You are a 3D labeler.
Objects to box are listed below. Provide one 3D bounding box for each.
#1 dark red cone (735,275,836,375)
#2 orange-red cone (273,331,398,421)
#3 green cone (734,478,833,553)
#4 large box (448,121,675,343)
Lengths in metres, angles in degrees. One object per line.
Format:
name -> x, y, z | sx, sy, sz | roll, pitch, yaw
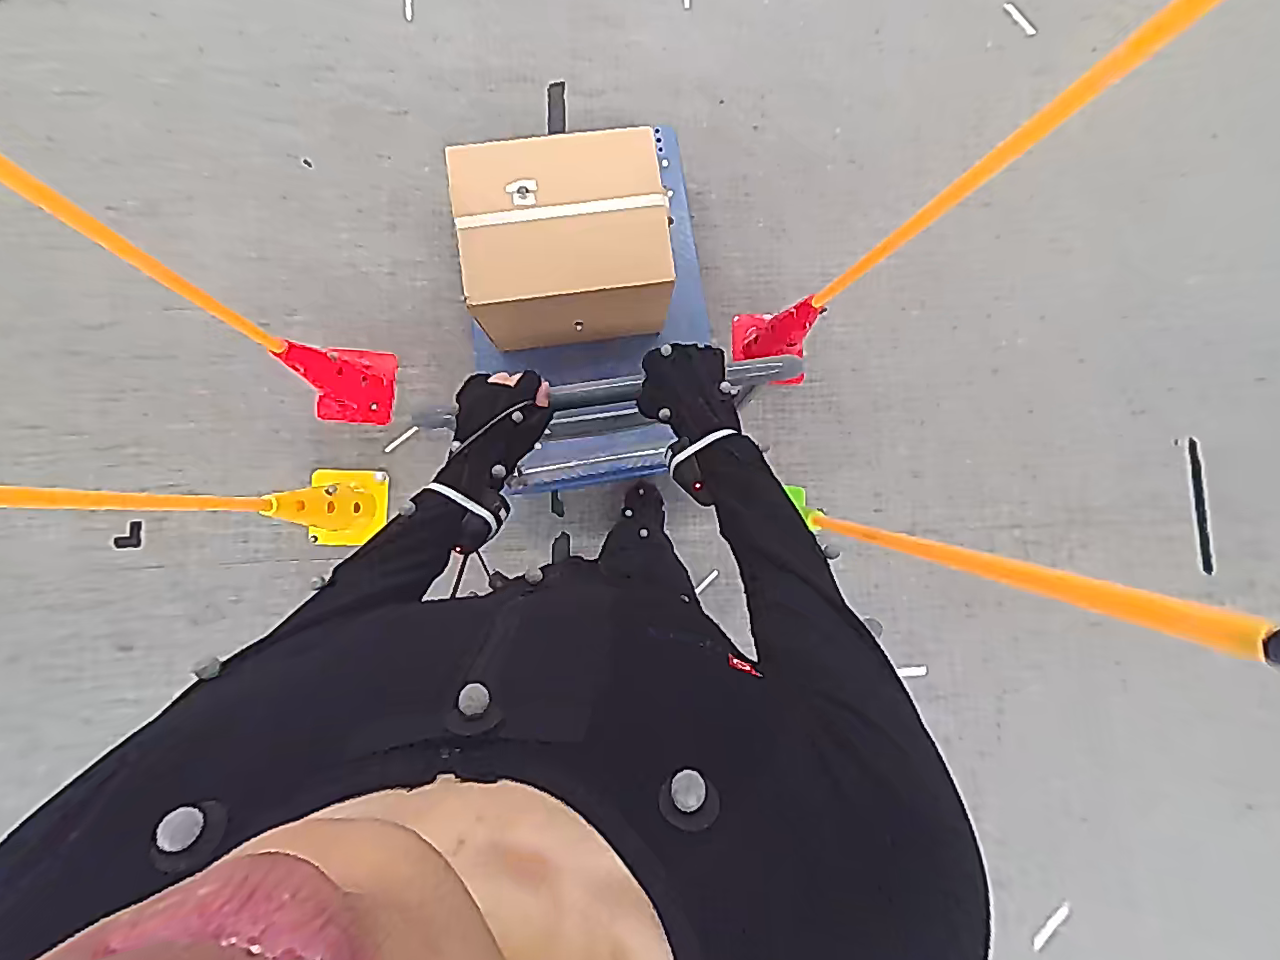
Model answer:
dark red cone -> 0.378, -0.397, 1.329 | 0.201, 0.394, 0.202 | -1, 87, -5
orange-red cone -> -0.749, -0.278, 1.285 | 0.198, 0.360, 0.199 | 6, 85, -3
green cone -> 0.371, 0.088, 1.317 | 0.202, 0.368, 0.200 | 2, 87, -4
large box -> -0.154, -0.512, 1.182 | 0.408, 0.320, 0.320 | -8, 88, -3
